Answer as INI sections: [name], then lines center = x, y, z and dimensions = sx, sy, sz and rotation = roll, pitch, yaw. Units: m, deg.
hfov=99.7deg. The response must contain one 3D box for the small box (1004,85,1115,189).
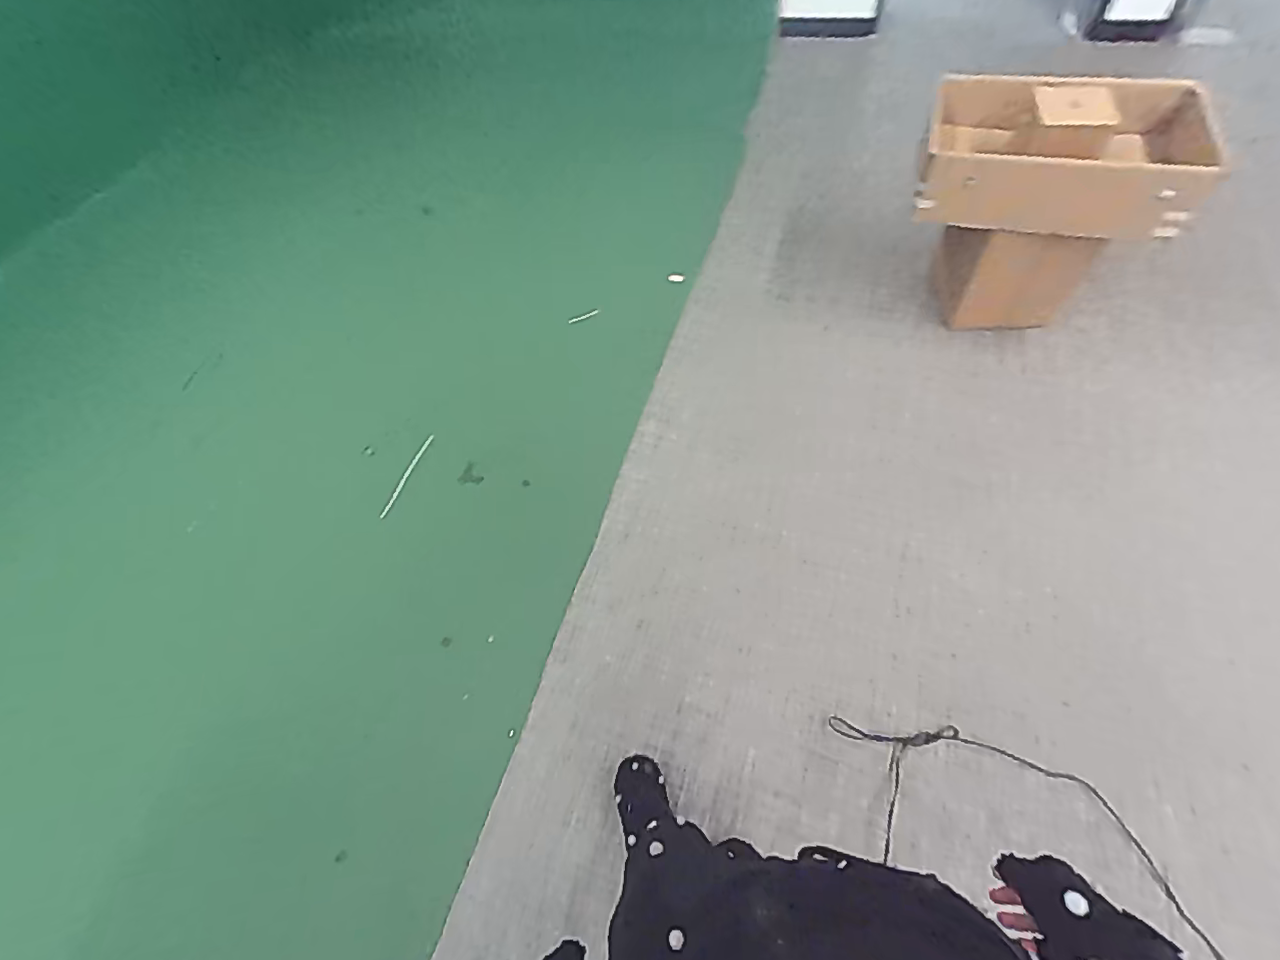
[small box]
center = 1.068, -0.884, 1.396
dimensions = 0.168, 0.176, 0.179
rotation = 8, 62, 13
